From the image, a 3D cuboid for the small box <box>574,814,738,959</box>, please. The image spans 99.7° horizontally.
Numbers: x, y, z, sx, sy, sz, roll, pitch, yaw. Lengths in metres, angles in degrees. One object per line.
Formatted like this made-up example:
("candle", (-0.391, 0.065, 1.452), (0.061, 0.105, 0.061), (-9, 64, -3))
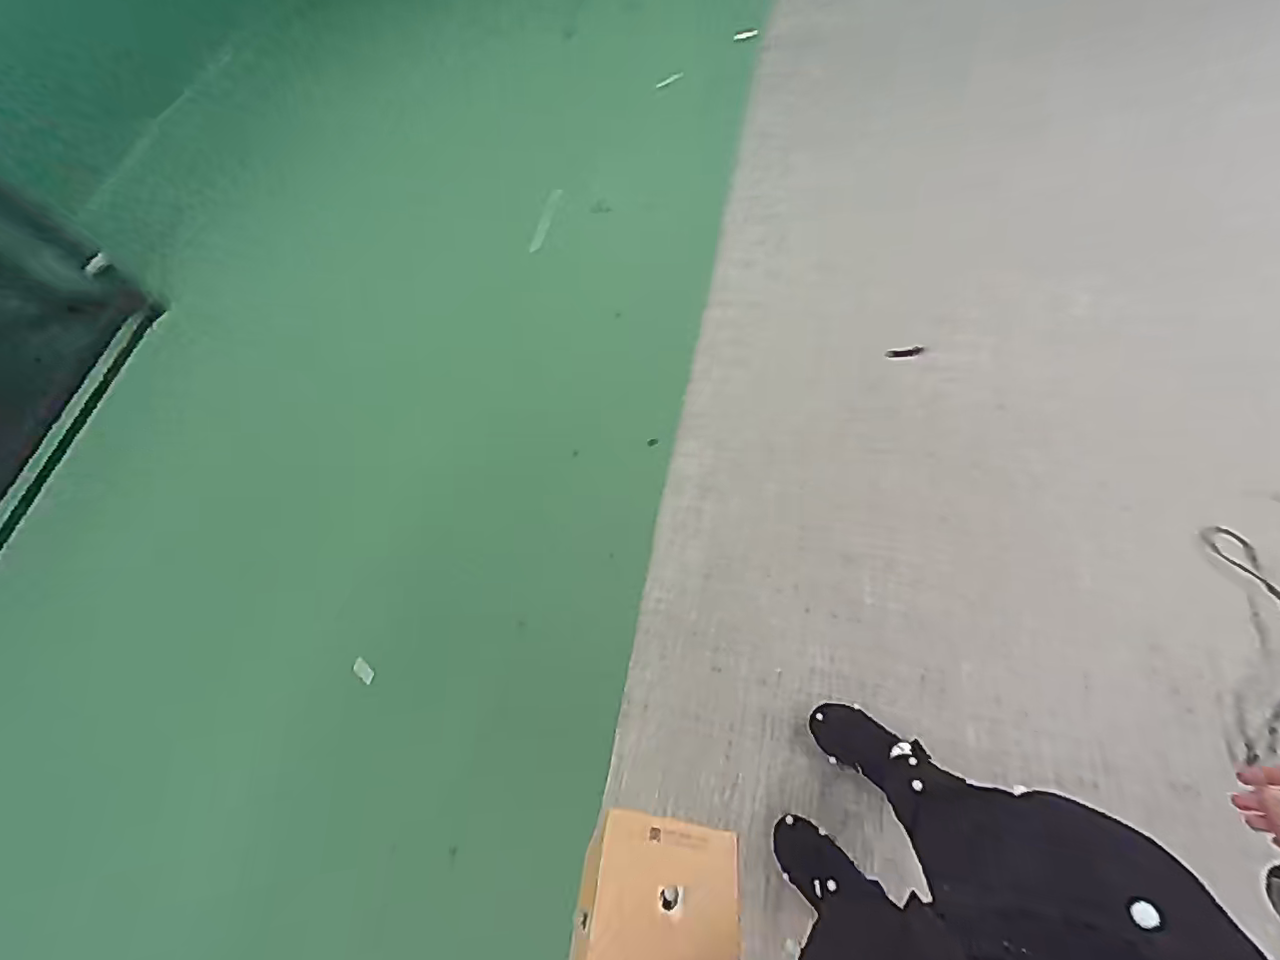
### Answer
("small box", (0.014, 0.532, 0.658), (0.168, 0.179, 0.176), (12, 42, -3))
